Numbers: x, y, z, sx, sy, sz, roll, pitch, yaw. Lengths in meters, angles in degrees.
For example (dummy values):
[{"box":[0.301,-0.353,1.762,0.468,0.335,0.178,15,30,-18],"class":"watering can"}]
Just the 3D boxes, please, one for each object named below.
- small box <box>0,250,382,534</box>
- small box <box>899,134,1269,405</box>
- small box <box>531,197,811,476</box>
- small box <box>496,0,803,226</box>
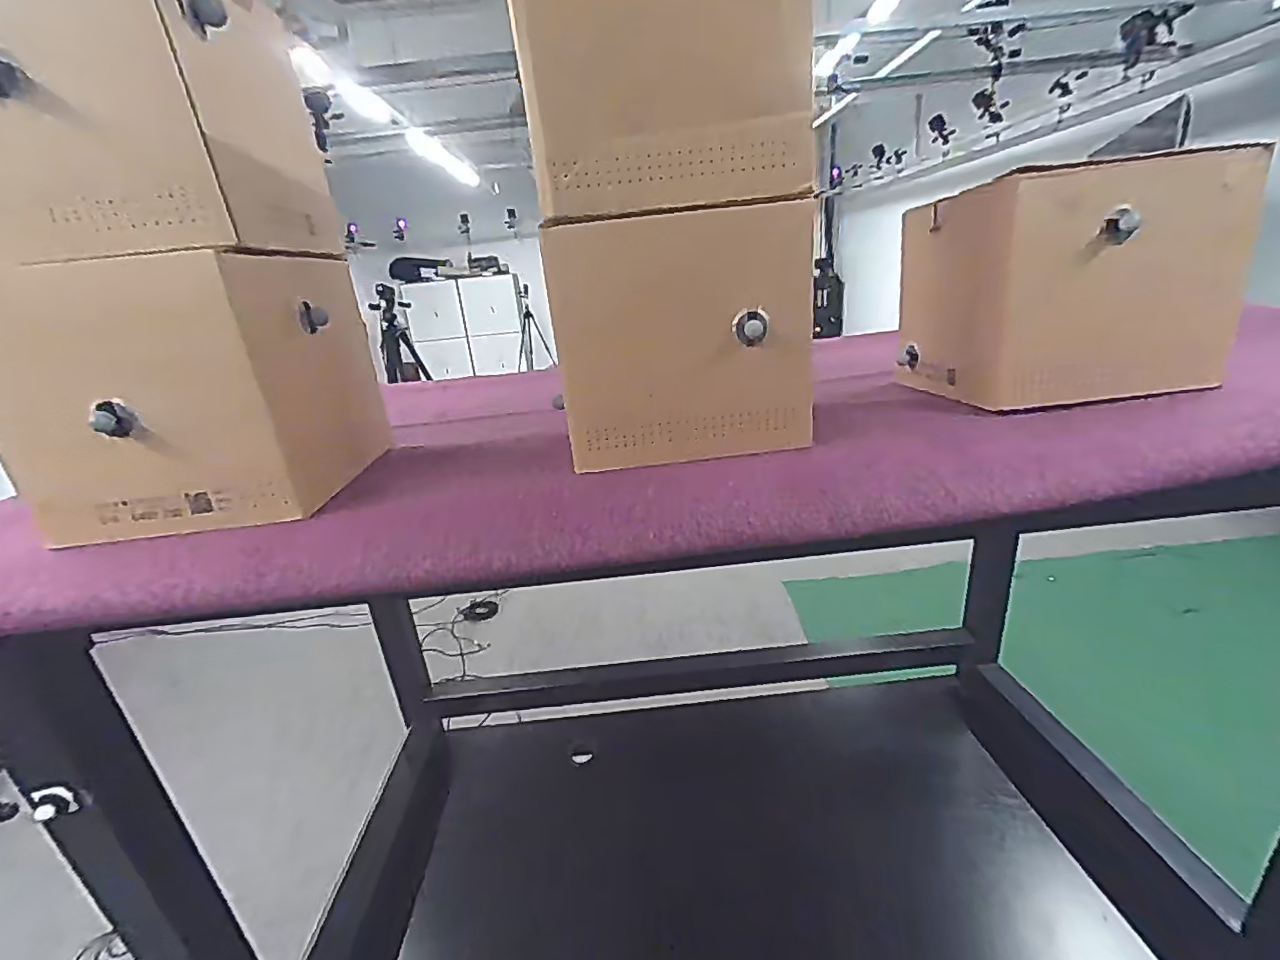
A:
[{"box":[-0.315,-0.068,0.398,0.168,0.176,0.179,-6,21,-3],"class":"small box"},{"box":[0.342,-0.163,0.458,0.179,0.176,0.168,-6,19,1],"class":"small box"},{"box":[0.023,-0.114,0.432,0.179,0.176,0.168,-8,20,-2],"class":"small box"},{"box":[0.003,-0.267,0.378,0.179,0.176,0.168,-8,20,-3],"class":"small box"}]
